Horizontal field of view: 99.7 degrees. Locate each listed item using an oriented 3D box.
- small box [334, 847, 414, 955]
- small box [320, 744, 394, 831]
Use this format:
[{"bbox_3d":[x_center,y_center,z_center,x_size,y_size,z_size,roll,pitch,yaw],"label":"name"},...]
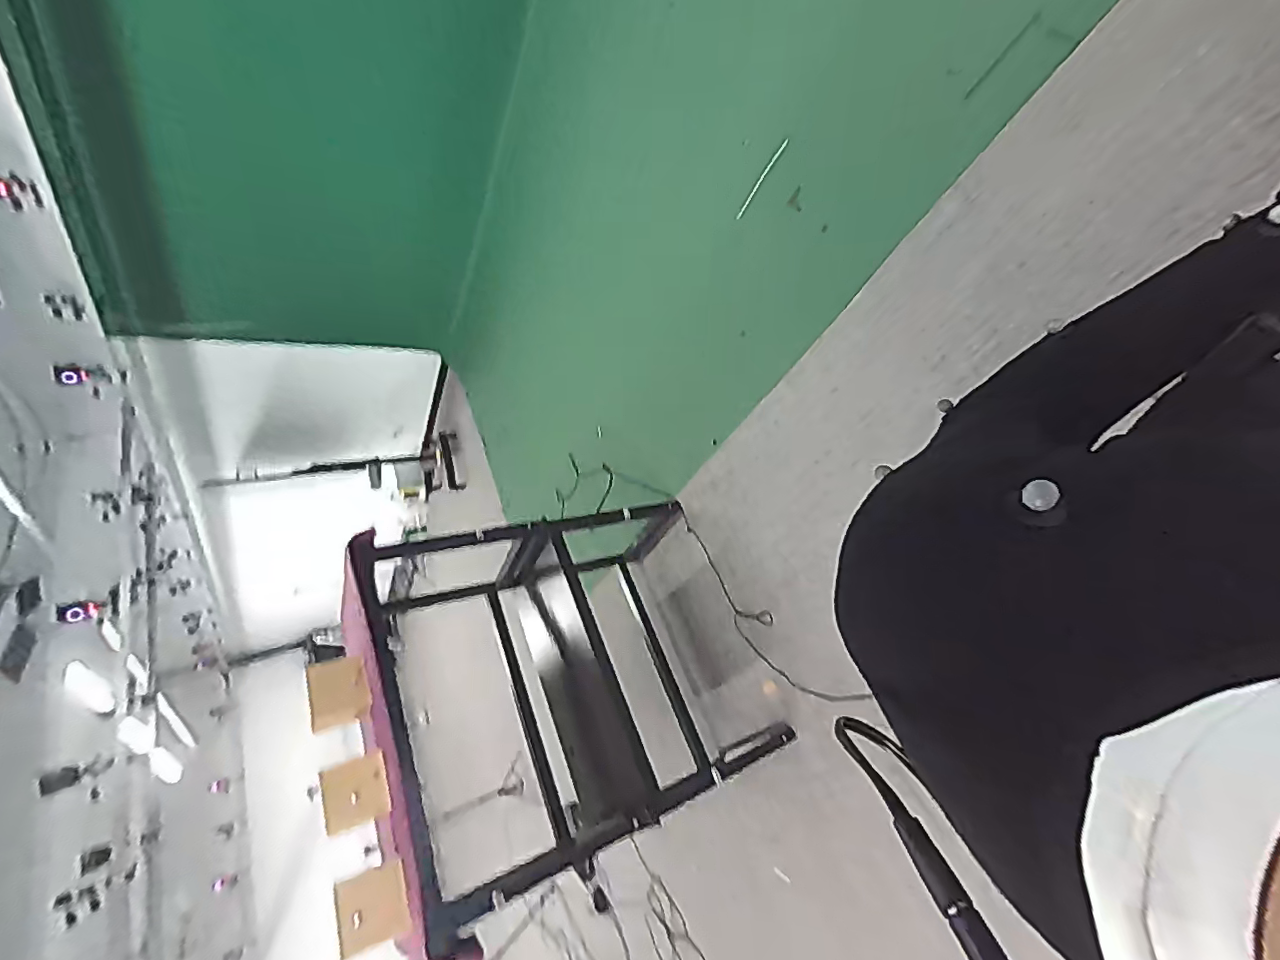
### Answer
[{"bbox_3d":[-0.722,1.134,1.468,0.168,0.176,0.179,-54,52,46],"label":"small box"},{"bbox_3d":[-0.827,0.898,1.585,0.179,0.176,0.168,-54,53,47],"label":"small box"}]
